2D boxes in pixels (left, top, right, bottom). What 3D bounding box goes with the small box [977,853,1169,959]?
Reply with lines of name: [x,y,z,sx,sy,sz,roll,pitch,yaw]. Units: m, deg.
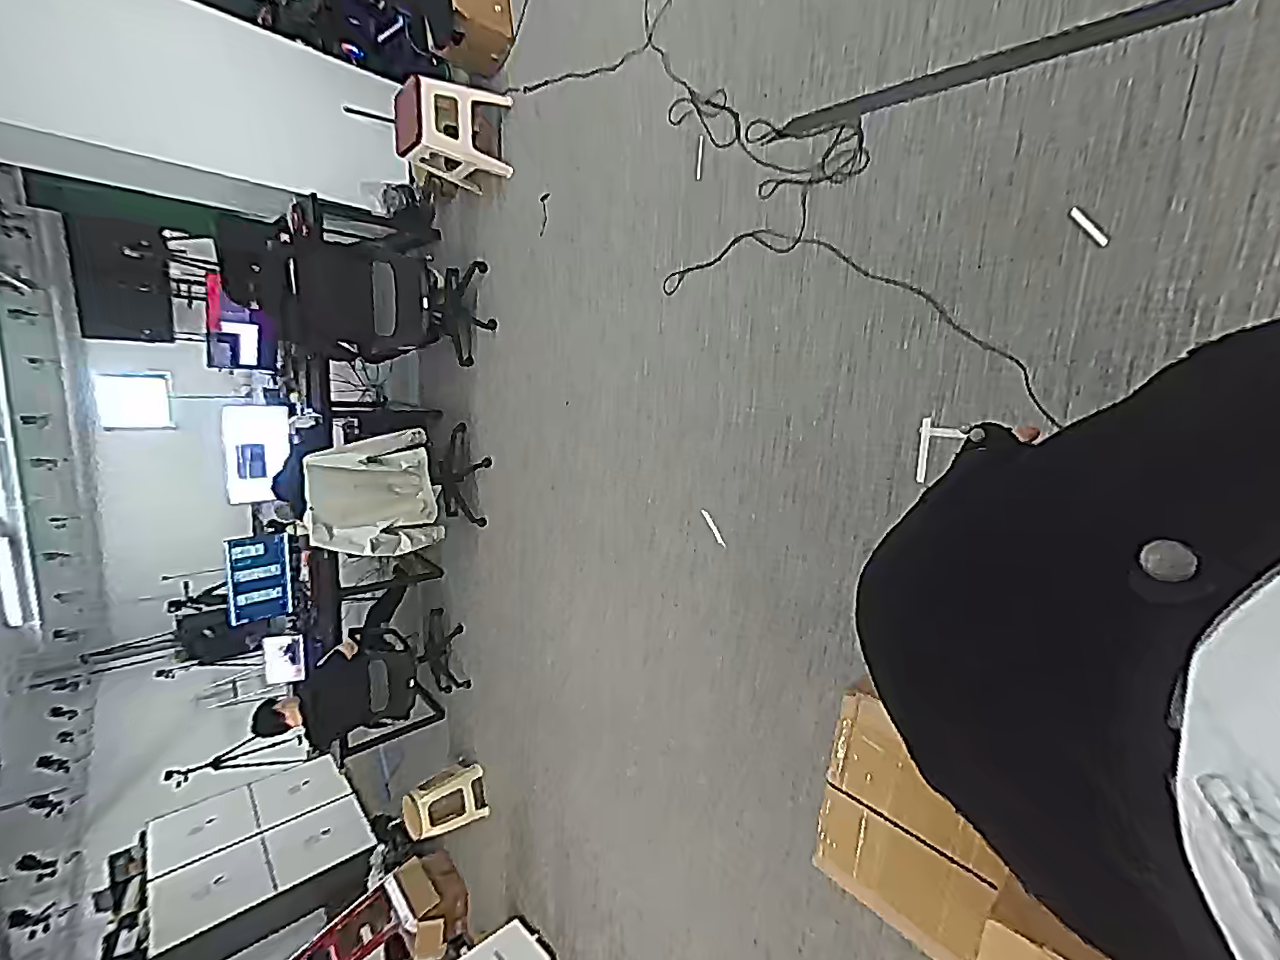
small box: [0.554,0.647,0.702,0.168,0.176,0.179,14,103,46]
